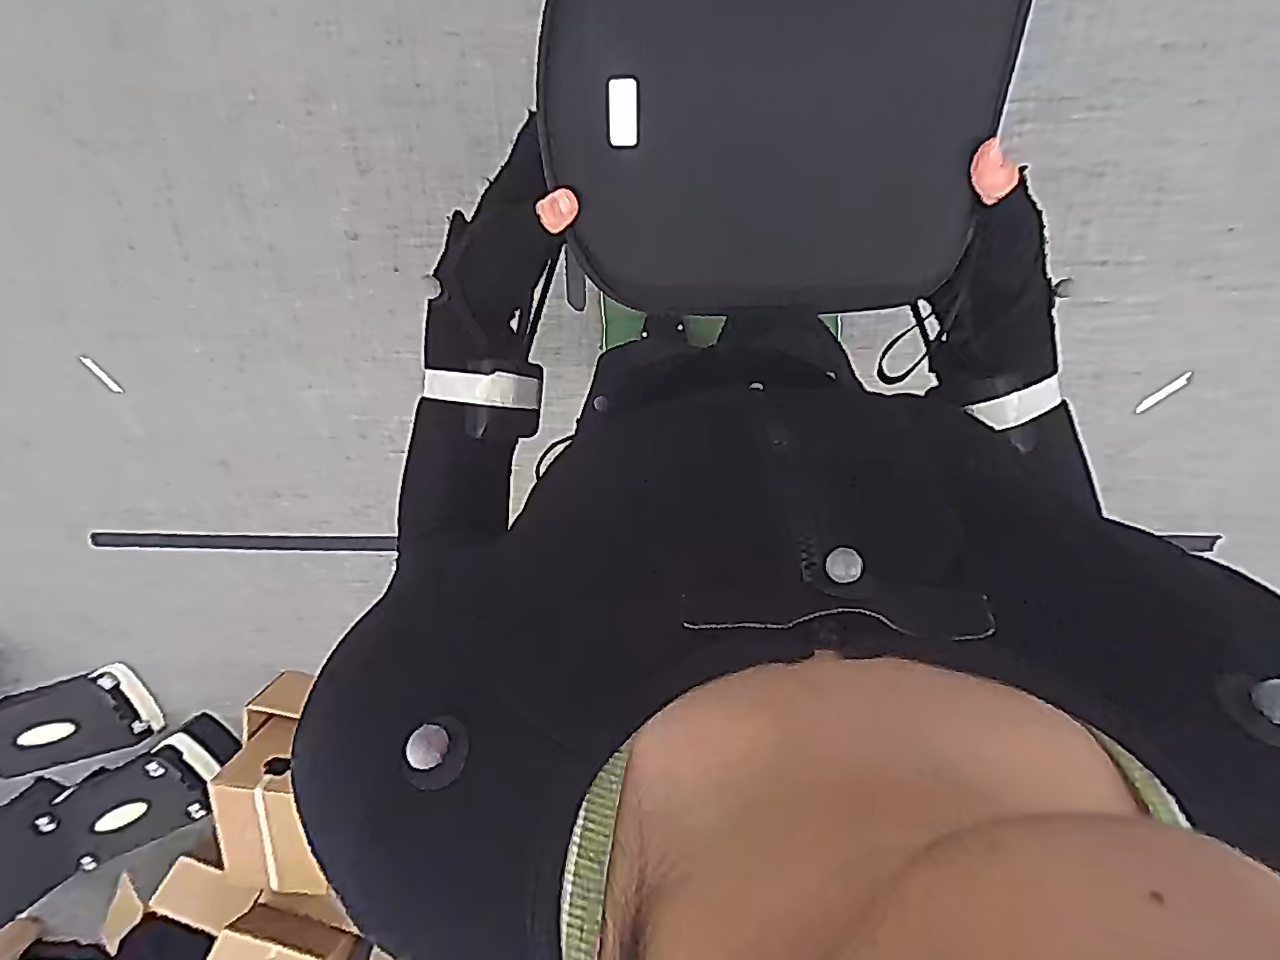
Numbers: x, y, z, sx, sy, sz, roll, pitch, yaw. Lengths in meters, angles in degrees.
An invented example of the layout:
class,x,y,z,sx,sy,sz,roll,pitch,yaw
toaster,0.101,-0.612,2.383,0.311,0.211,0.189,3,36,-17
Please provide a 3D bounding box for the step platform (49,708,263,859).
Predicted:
class,x,y,z,sx,sy,sz,roll,pitch,yaw
step platform,-1.728,1.089,1.931,0.684,0.204,0.286,-29,104,11
